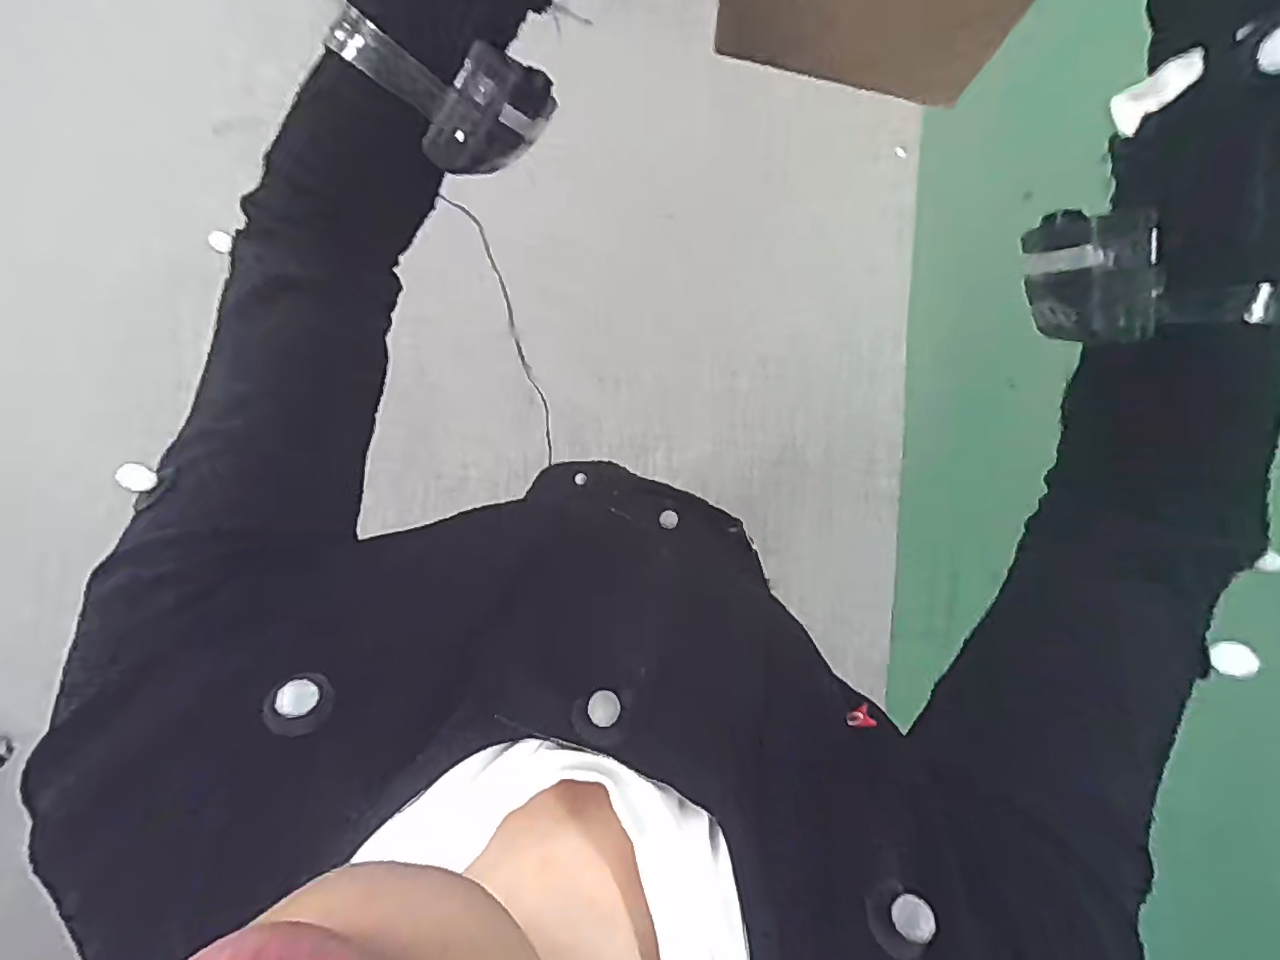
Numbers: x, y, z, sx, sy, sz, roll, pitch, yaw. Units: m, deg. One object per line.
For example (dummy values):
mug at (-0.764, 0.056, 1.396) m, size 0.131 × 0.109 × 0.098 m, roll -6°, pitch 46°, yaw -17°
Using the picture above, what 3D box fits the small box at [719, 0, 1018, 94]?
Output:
small box at (0.151, -0.360, 0.299) m, size 0.179 × 0.176 × 0.168 m, roll 15°, pitch 92°, yaw 2°
